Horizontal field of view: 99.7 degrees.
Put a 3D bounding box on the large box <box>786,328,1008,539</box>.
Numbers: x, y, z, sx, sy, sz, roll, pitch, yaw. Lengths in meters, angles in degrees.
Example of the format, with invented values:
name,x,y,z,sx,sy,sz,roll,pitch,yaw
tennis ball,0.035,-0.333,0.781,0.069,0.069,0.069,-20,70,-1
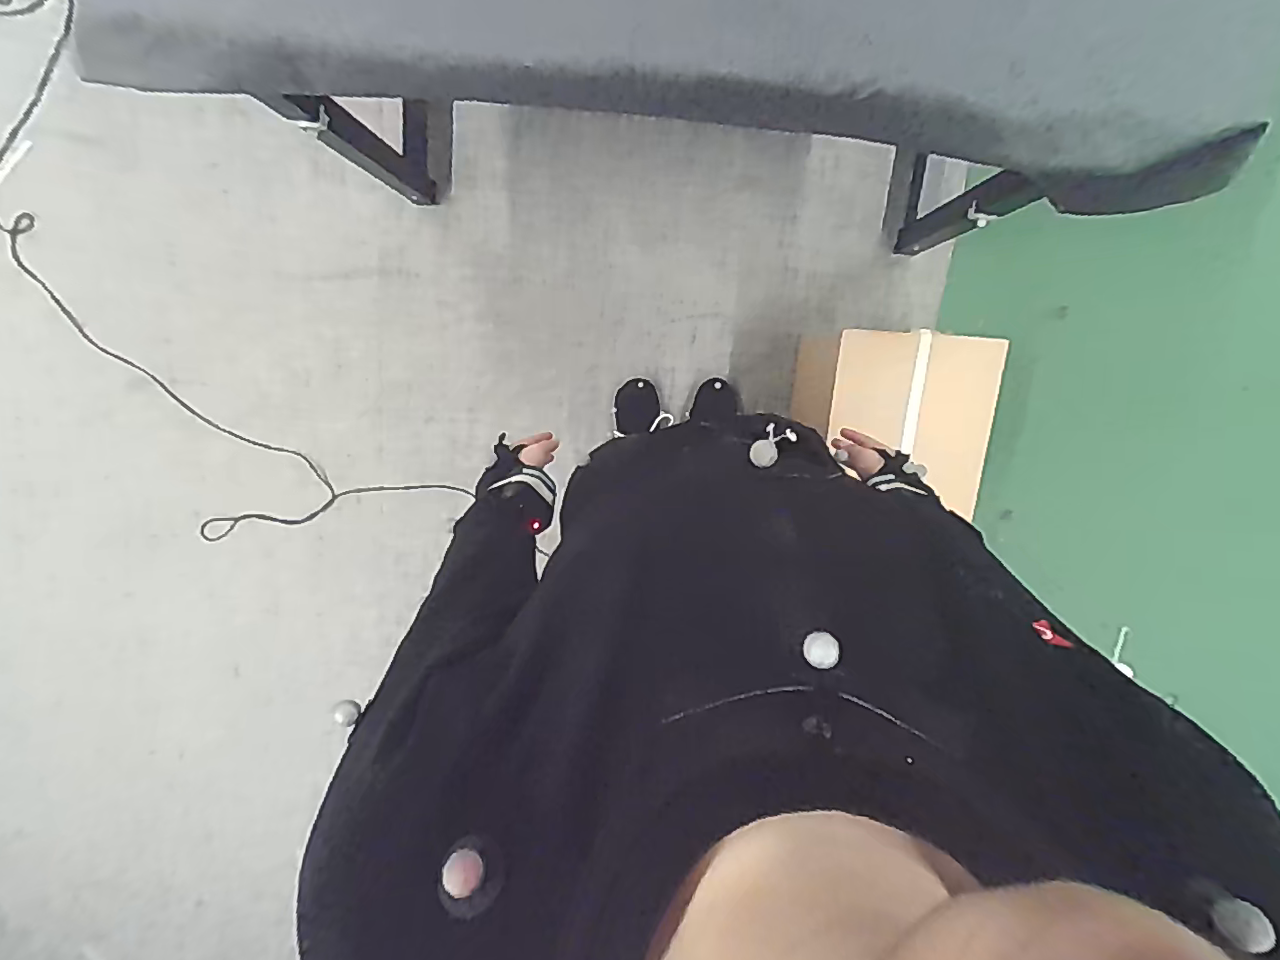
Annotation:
name,x,y,z,sx,sy,sz,roll,pitch,yaw
large box,0.525,-0.115,1.185,0.320,0.320,0.408,4,102,2
